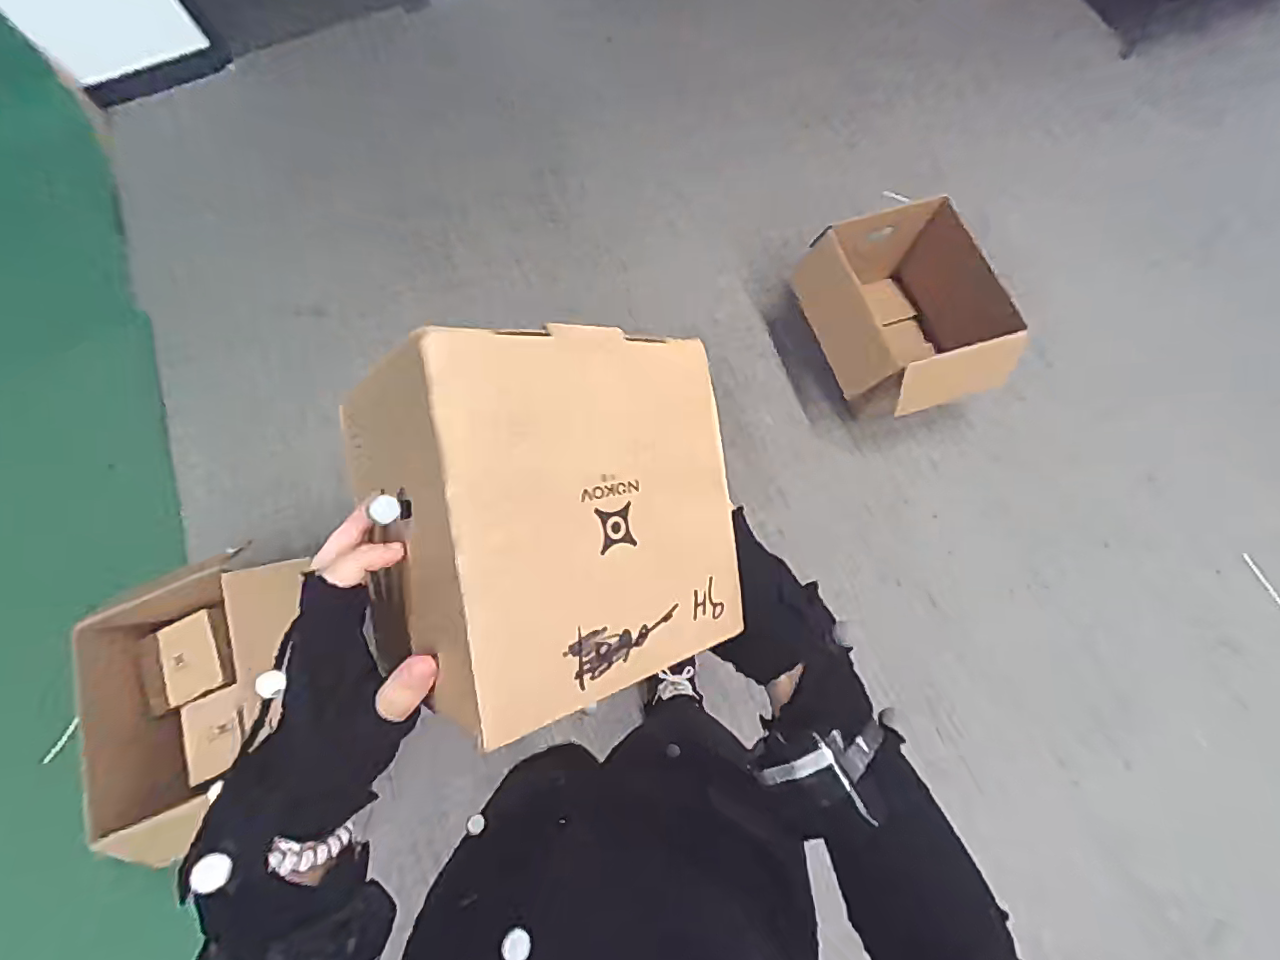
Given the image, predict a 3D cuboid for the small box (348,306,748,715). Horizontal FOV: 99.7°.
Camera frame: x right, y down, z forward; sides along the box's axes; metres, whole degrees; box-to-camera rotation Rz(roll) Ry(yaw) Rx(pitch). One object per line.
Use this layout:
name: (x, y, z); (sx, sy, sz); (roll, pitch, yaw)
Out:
small box: (-0.062, 0.010, 0.332); (0.168, 0.176, 0.179); (-12, 93, -39)
